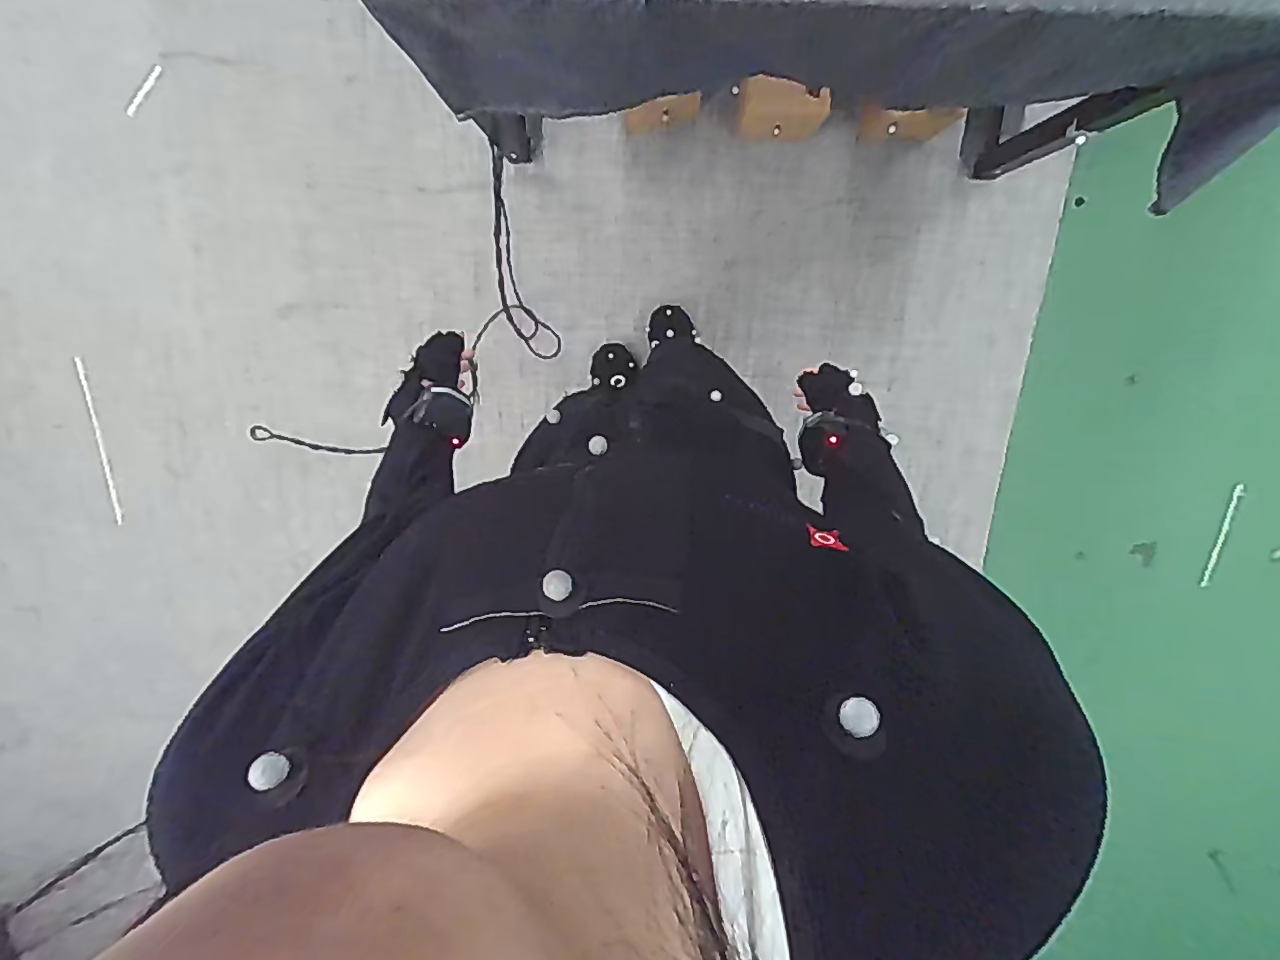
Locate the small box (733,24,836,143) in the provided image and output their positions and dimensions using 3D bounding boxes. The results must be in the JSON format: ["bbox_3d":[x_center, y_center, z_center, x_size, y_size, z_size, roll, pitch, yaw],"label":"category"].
[{"bbox_3d":[0.307,-0.856,1.181,0.179,0.176,0.168,1,106,2],"label":"small box"}]

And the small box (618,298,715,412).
[{"bbox_3d":[0.067,-0.305,1.346,0.168,0.176,0.179,41,79,18],"label":"small box"}]
